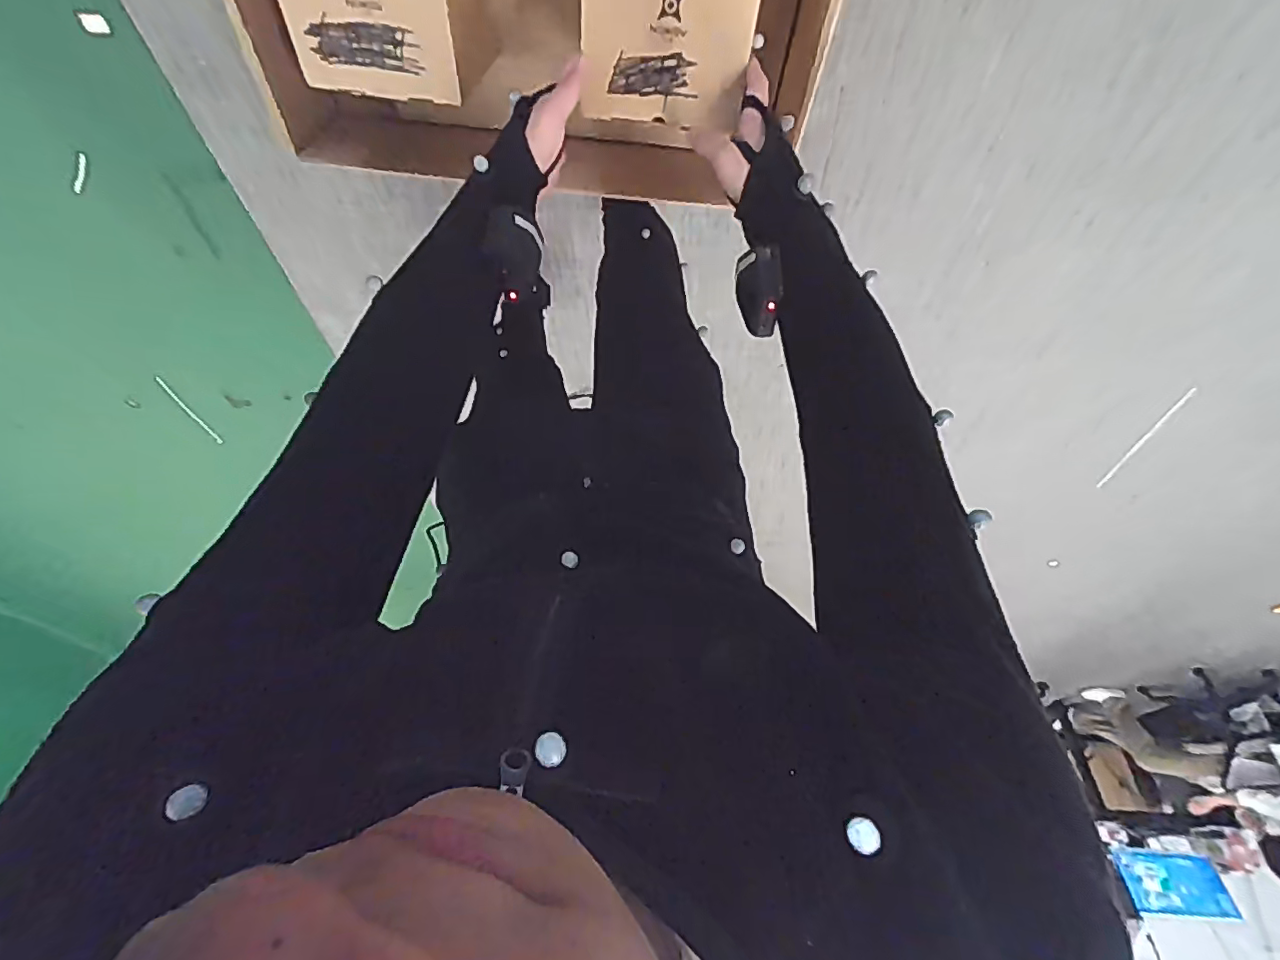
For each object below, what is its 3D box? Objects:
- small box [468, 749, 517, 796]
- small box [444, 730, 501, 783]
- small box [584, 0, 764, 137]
[{"bbox_3d":[-0.675,1.351,2.504,0.168,0.176,0.179,-1,141,3],"label":"small box"},{"bbox_3d":[-0.690,1.154,2.251,0.168,0.176,0.179,0,143,2],"label":"small box"},{"bbox_3d":[0.037,-0.483,0.562,0.168,0.176,0.179,7,132,0],"label":"small box"}]
